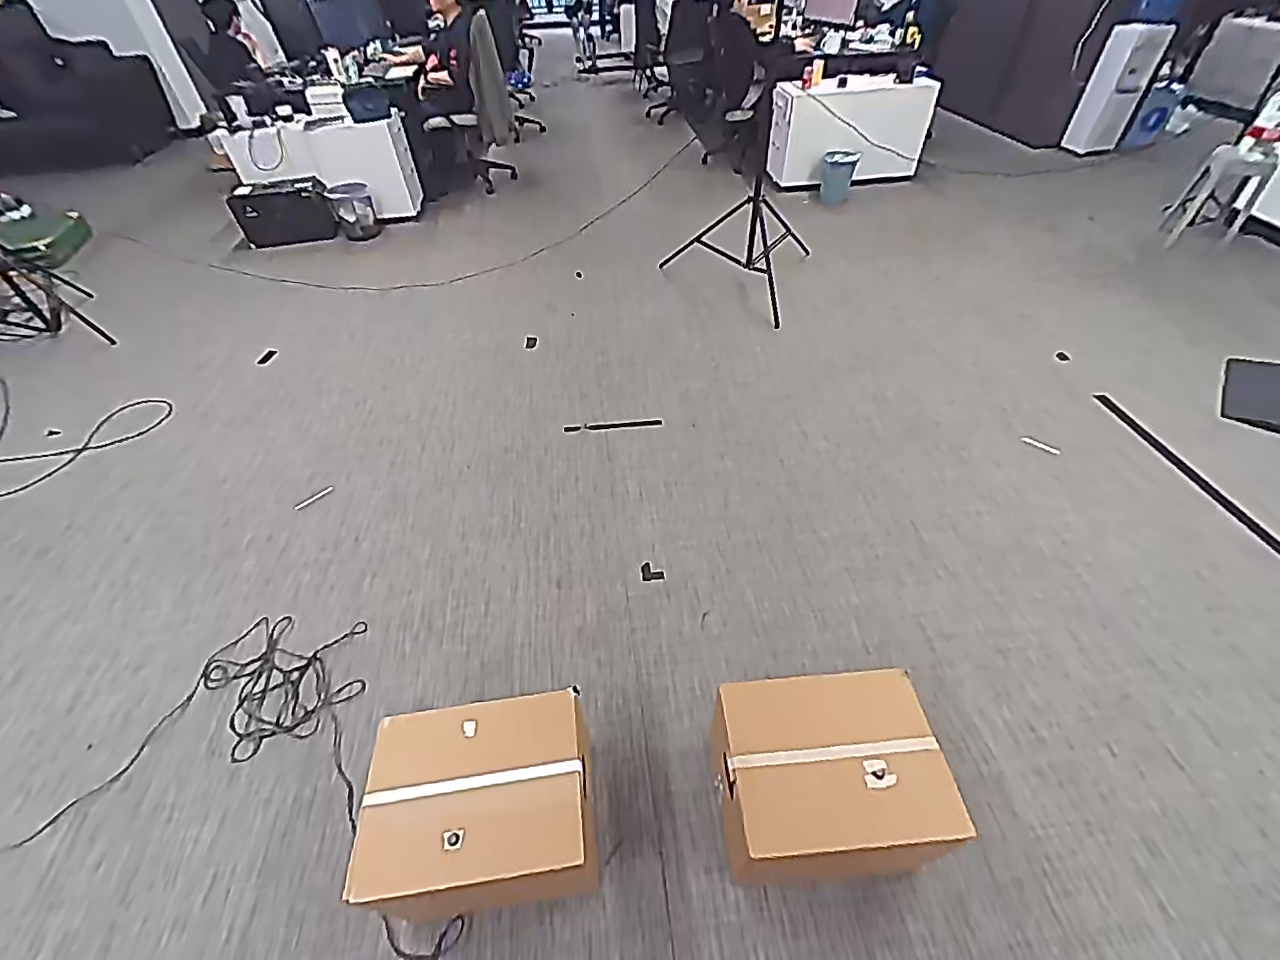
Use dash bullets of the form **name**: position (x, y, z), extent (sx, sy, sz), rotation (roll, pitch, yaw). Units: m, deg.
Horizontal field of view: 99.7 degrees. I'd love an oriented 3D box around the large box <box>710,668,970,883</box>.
- **large box**: position (0.383, 0.635, 1.161), extent (0.408, 0.320, 0.320), rotation (-4, 46, -2)
